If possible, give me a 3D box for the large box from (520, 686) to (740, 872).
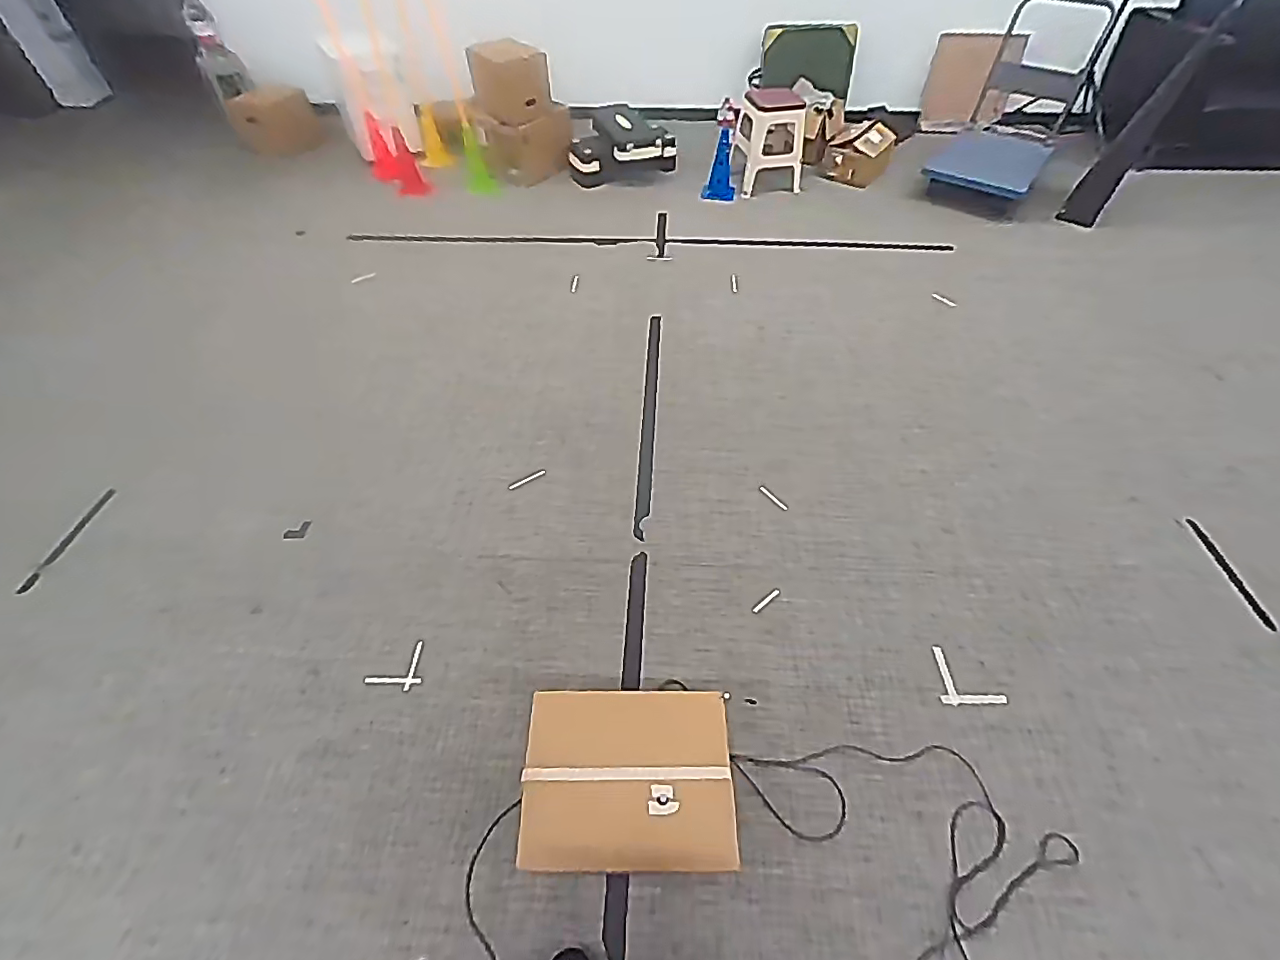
[{"bbox_3d":[-0.022,0.650,1.170,0.408,0.320,0.320,1,54,-1],"label":"large box"}]
